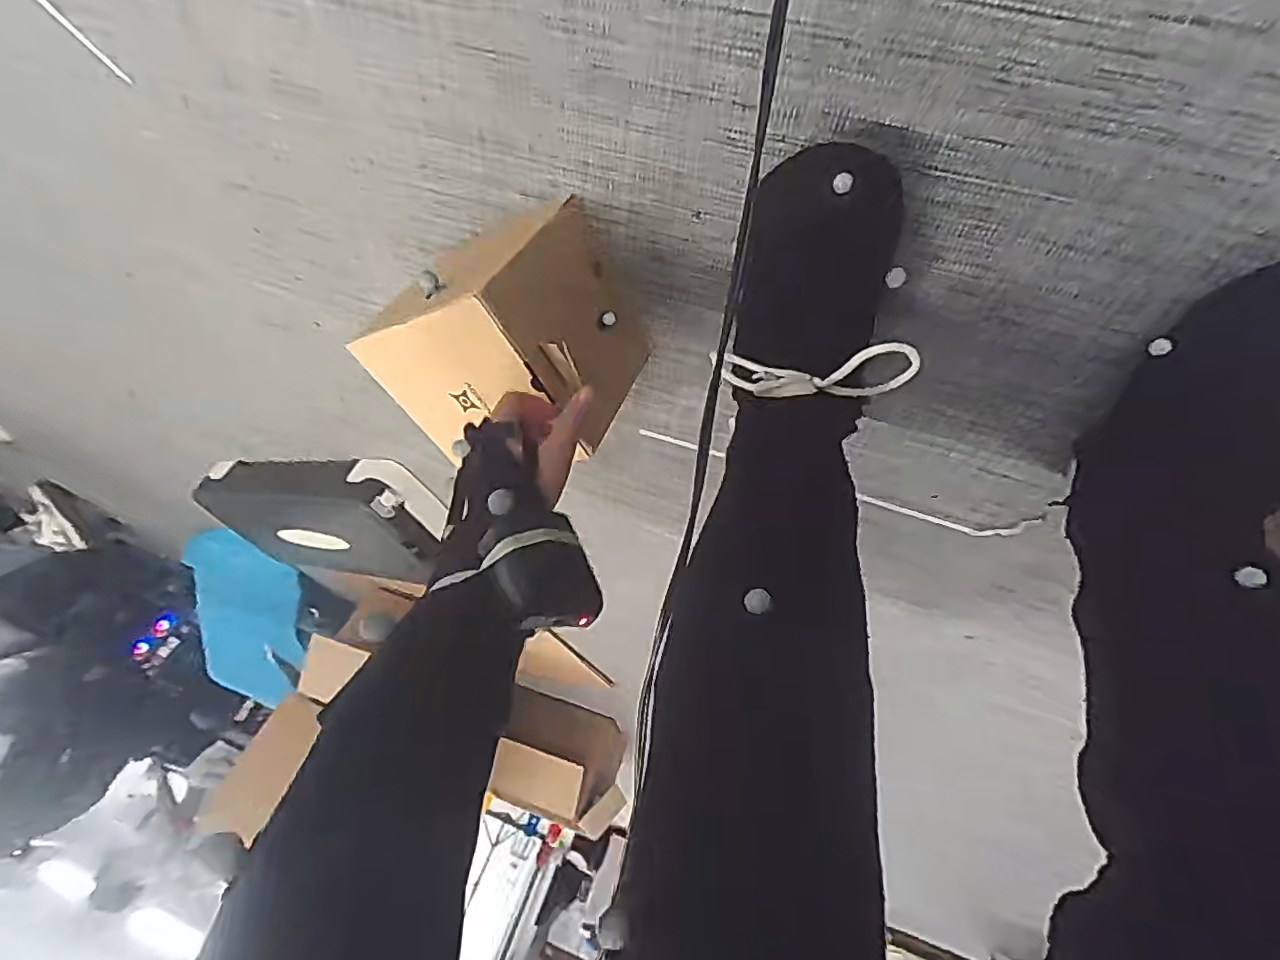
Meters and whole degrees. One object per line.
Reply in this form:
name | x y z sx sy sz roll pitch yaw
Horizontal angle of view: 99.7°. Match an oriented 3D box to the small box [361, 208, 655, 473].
small box | -0.112 -0.127 0.521 0.179 0.176 0.168 -5 134 33
